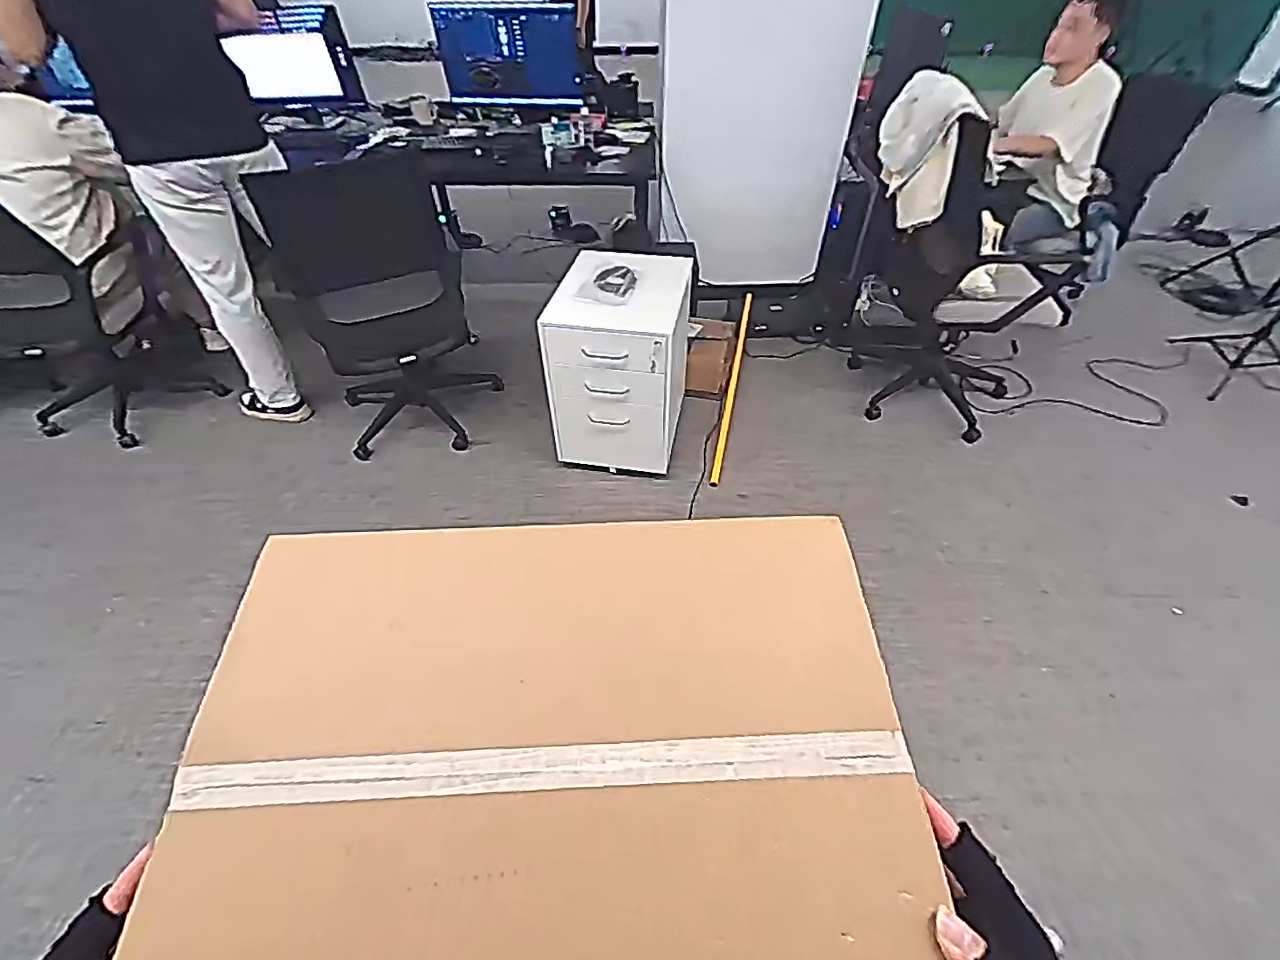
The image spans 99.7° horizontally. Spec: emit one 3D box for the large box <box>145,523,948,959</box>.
[{"bbox_3d":[-0.051,0.251,0.438,0.408,0.320,0.320,-2,57,-1],"label":"large box"}]
